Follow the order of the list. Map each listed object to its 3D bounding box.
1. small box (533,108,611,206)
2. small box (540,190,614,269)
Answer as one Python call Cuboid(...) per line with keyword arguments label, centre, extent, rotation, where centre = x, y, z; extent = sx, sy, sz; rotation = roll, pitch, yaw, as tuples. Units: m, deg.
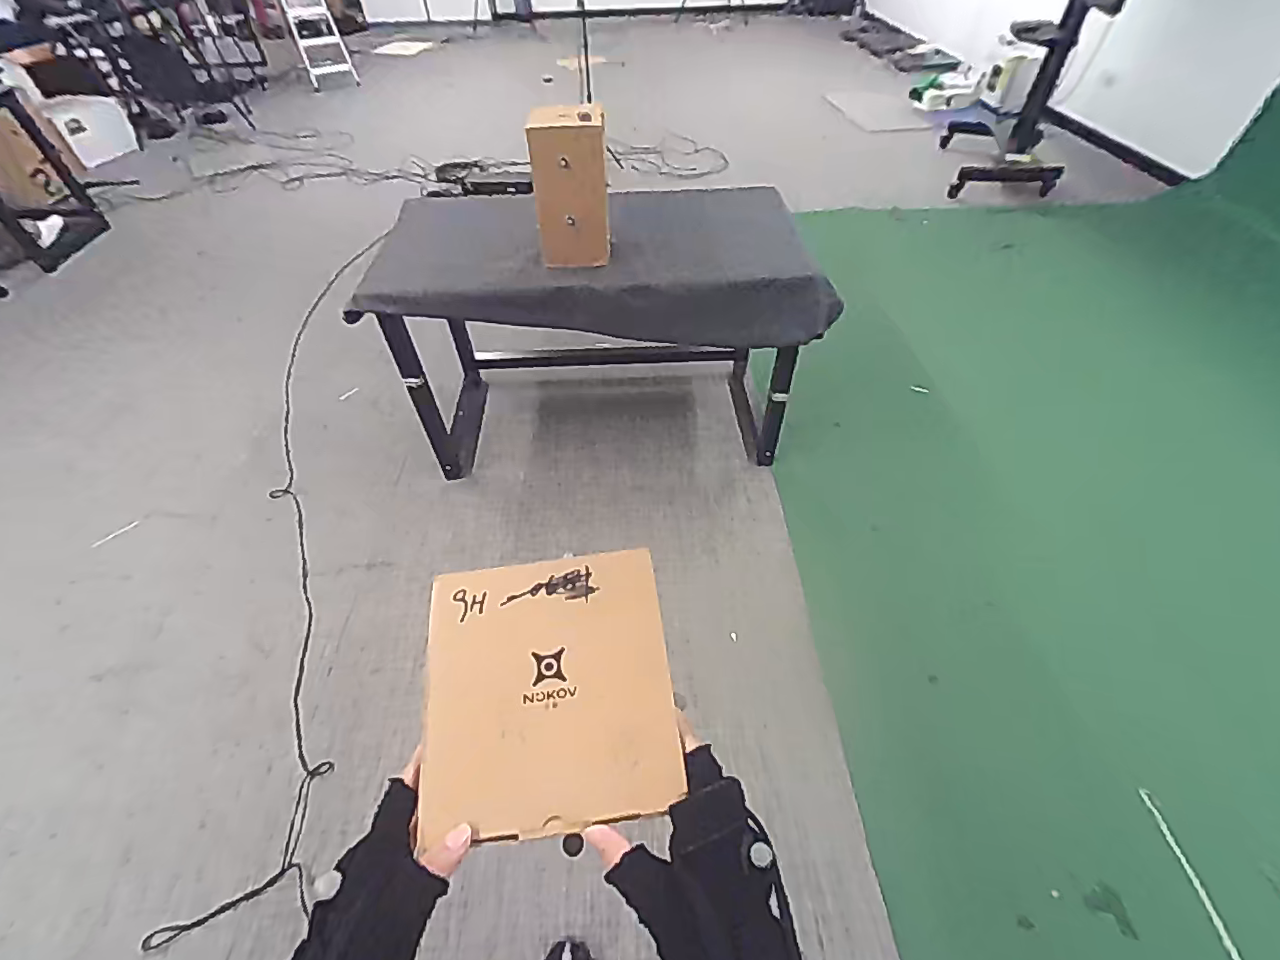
Cuboid(label="small box", centre=(-0.160, -0.791, 1.328), extent=(0.179, 0.176, 0.168), rotation=(-3, 49, -2))
Cuboid(label="small box", centre=(-0.162, -0.681, 1.450), extent=(0.179, 0.176, 0.168), rotation=(-1, 49, -1))
